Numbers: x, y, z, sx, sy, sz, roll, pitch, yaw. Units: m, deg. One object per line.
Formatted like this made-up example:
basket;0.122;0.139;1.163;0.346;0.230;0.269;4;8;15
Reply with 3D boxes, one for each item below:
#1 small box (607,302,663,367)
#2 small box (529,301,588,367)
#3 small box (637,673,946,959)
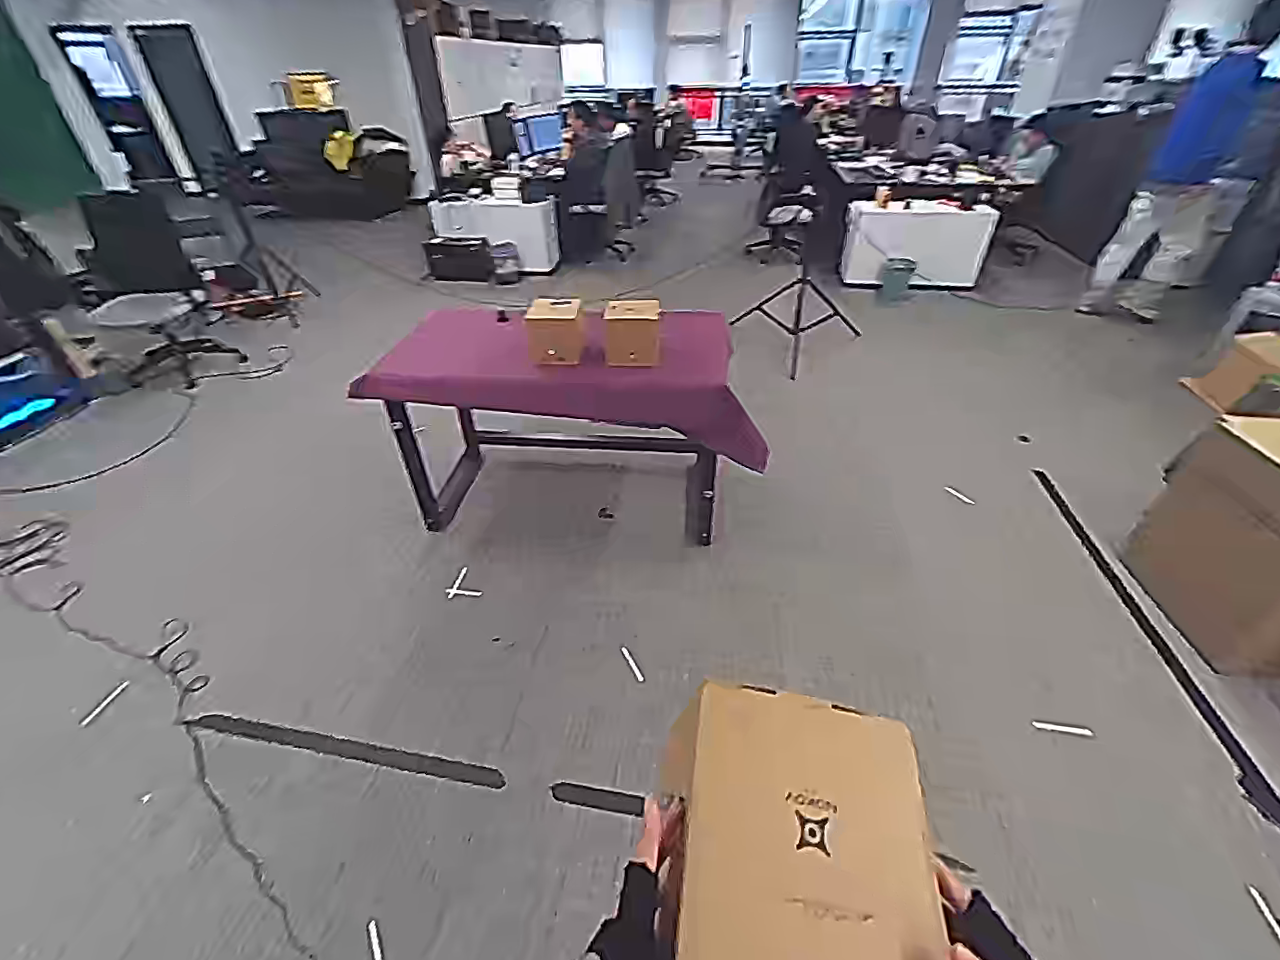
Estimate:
small box;-0.013;-0.495;1.851;0.179;0.176;0.168;2;37;4
small box;-0.276;-0.507;1.874;0.168;0.176;0.179;1;38;3
small box;0.097;0.282;0.414;0.168;0.176;0.179;12;45;1
